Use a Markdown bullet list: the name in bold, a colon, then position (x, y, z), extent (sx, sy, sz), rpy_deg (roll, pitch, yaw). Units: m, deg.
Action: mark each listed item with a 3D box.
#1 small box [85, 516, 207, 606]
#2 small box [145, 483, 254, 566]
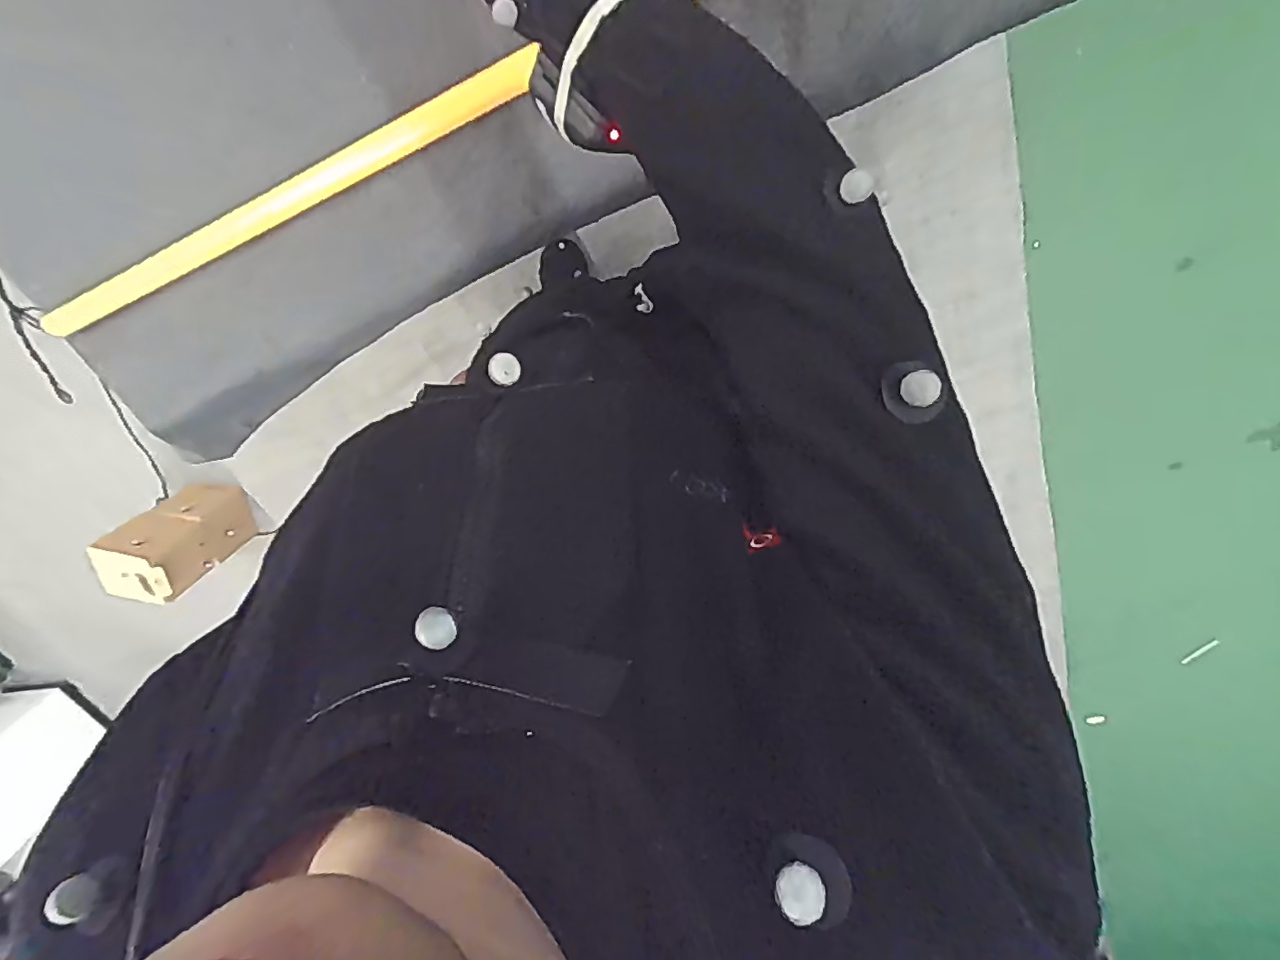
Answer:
- **small box**: position (-1.348, 0.218, 1.496), extent (0.179, 0.176, 0.168), rpy_deg (11, 120, 2)
- **small box**: position (-1.319, 0.134, 1.635), extent (0.168, 0.176, 0.179), rpy_deg (6, 121, 4)
